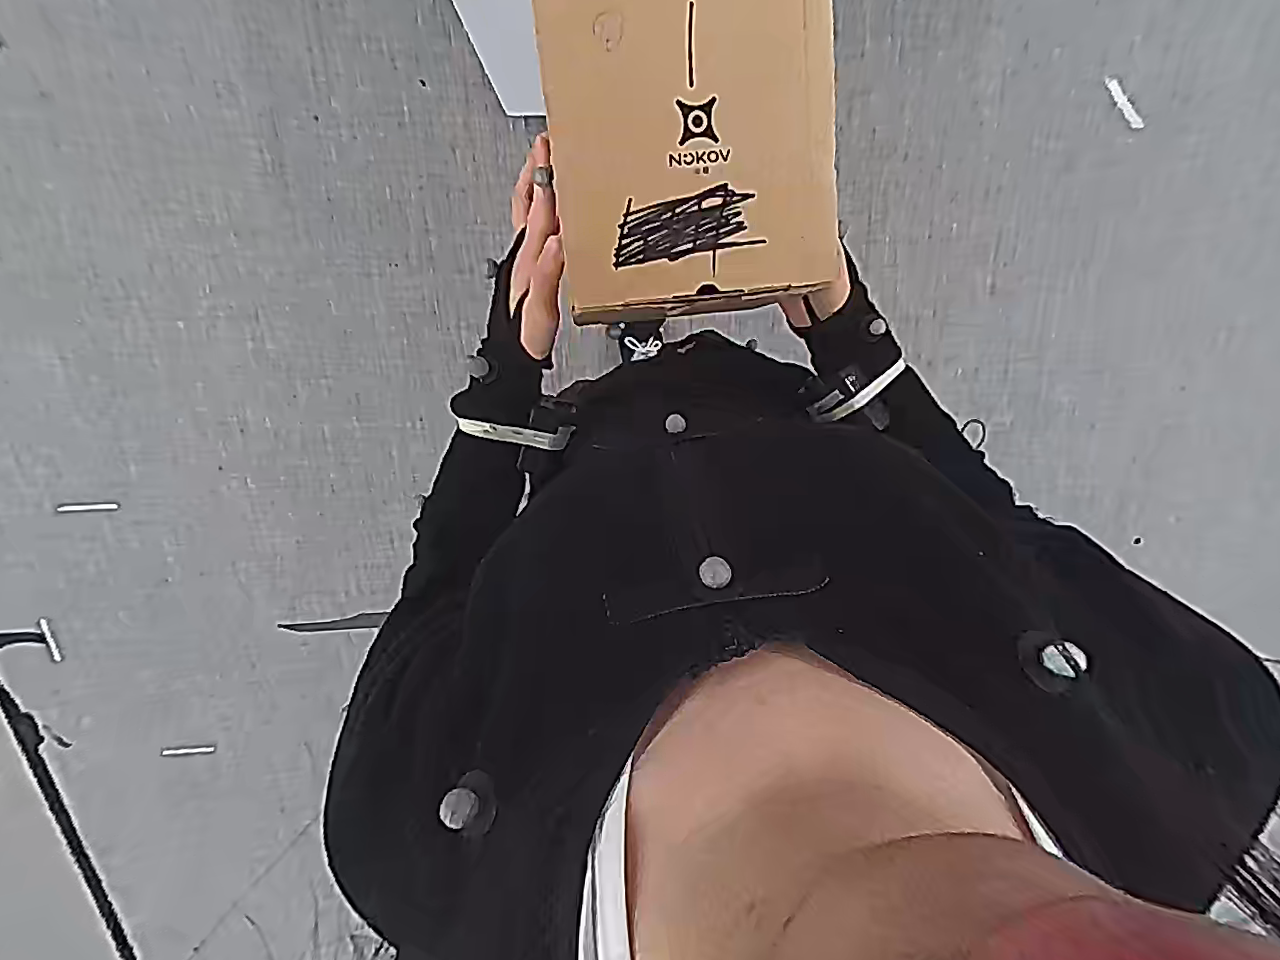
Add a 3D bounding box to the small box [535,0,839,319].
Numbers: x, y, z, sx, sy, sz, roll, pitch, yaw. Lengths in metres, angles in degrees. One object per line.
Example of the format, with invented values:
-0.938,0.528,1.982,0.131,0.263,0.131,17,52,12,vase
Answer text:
0.025,-0.212,0.384,0.168,0.176,0.179,-8,103,-5,small box
